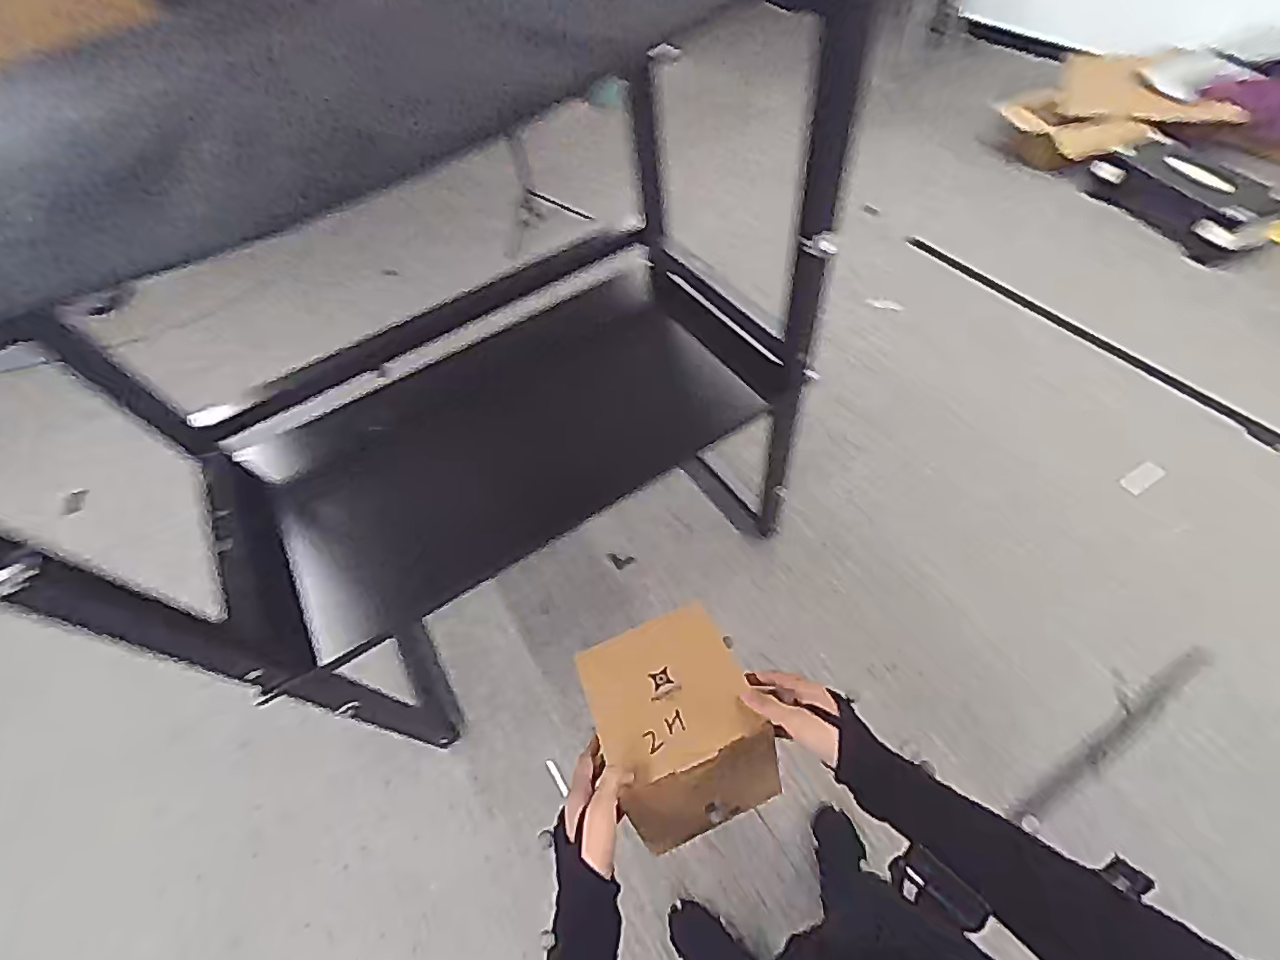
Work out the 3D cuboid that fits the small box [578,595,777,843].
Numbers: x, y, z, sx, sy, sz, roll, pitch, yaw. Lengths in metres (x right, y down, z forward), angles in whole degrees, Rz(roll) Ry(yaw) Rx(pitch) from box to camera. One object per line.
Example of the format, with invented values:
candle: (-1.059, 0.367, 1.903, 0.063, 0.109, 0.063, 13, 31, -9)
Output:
small box: (0.044, 0.274, 0.630, 0.168, 0.176, 0.179, -22, 38, -7)
